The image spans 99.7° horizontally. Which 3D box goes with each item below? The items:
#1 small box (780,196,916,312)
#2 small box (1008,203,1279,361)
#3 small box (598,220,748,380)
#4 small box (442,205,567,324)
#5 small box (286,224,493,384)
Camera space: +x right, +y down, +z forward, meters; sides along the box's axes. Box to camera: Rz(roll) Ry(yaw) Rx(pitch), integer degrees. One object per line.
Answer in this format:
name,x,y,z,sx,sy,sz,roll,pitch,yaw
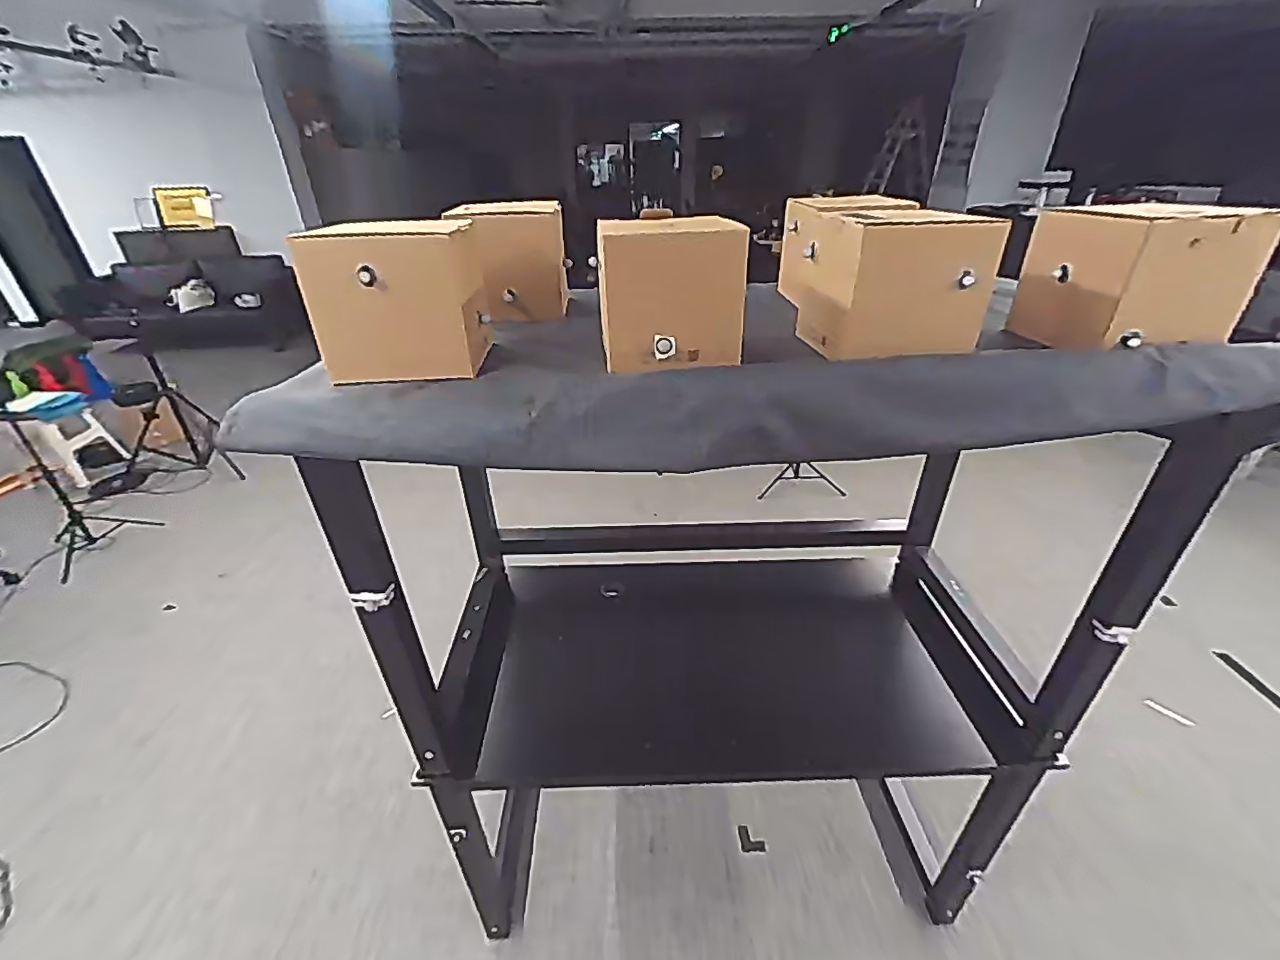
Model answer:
small box,0.355,-0.398,0.958,0.168,0.176,0.179,-3,31,-1
small box,0.629,-0.256,0.702,0.168,0.176,0.179,-4,30,-3
small box,0.033,-0.236,0.698,0.168,0.176,0.179,-5,30,-4
small box,-0.222,-0.374,0.940,0.179,0.176,0.168,-2,31,-3
small box,-0.299,-0.226,0.690,0.179,0.176,0.168,-3,30,-4
